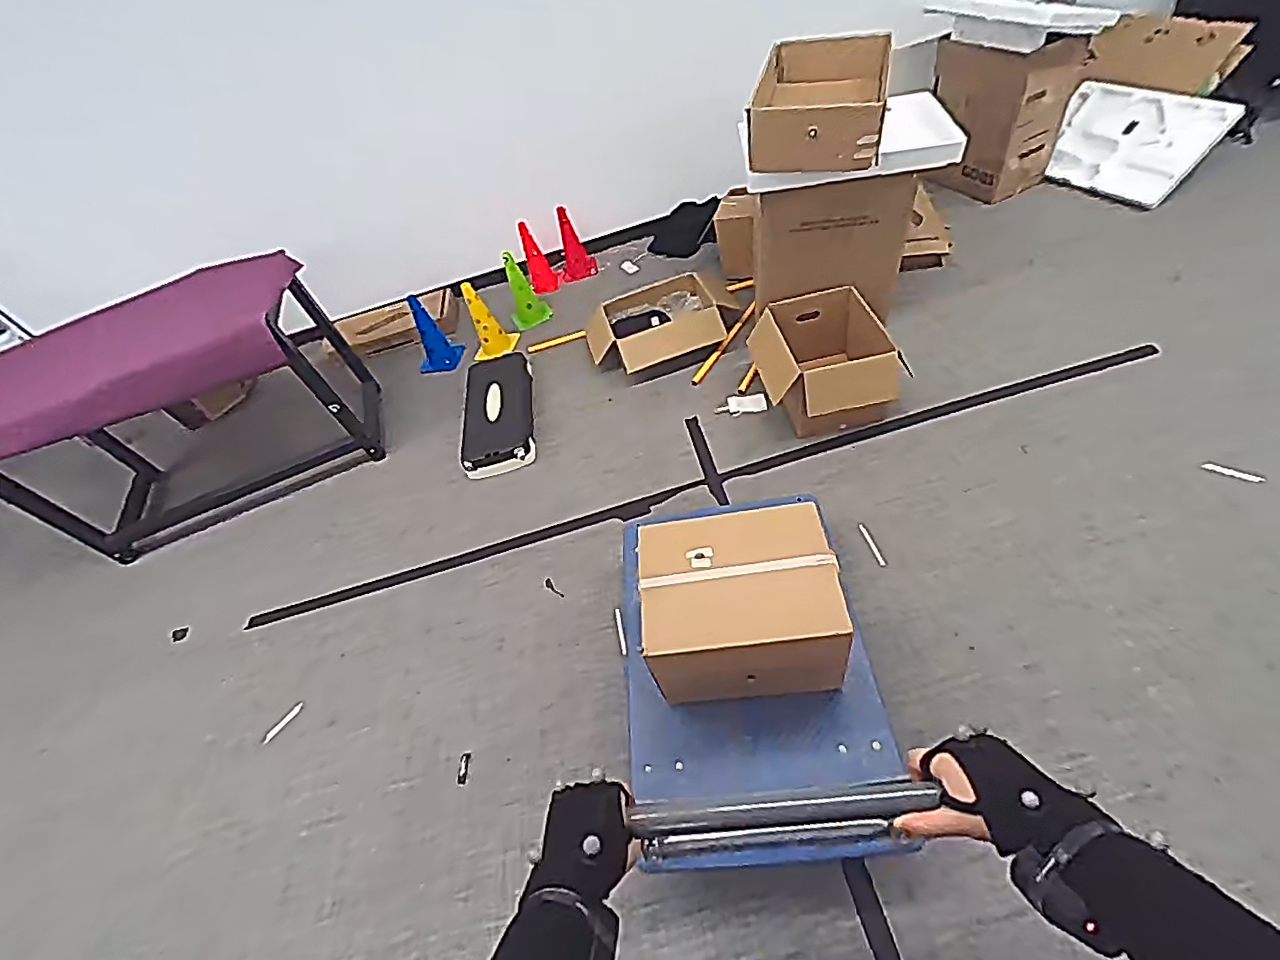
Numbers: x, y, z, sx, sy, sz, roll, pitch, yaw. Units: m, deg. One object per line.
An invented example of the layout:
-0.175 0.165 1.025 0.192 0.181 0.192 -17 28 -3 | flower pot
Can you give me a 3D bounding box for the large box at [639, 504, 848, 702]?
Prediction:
0.231 0.297 1.263 0.408 0.320 0.320 -10 48 8 | large box
